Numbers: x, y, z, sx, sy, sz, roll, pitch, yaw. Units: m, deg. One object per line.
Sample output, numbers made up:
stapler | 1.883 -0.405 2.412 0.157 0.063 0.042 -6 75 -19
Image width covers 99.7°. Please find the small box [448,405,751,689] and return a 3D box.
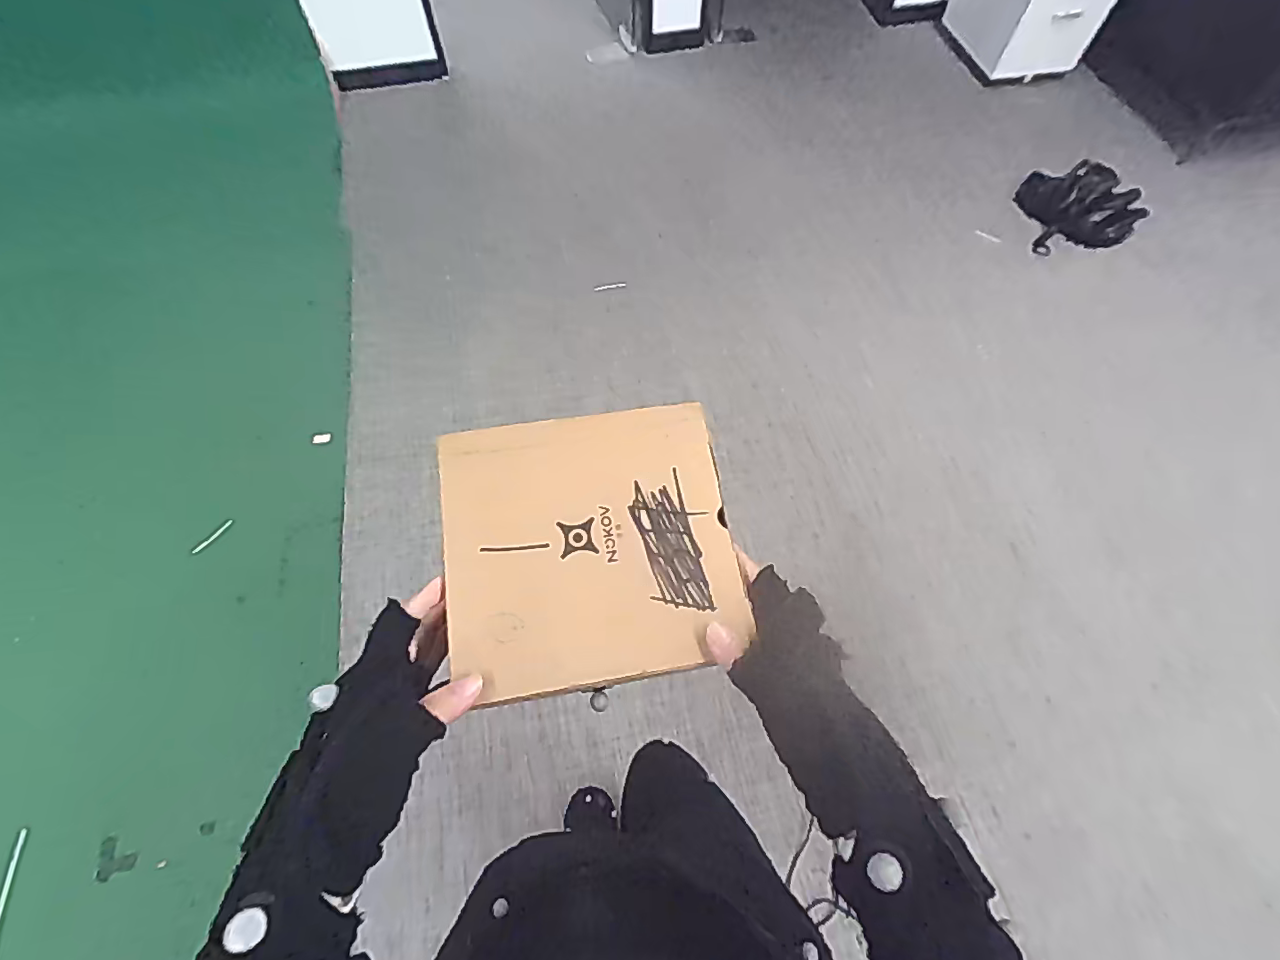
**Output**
small box | -0.035 0.060 0.408 0.179 0.176 0.168 -5 67 -6
